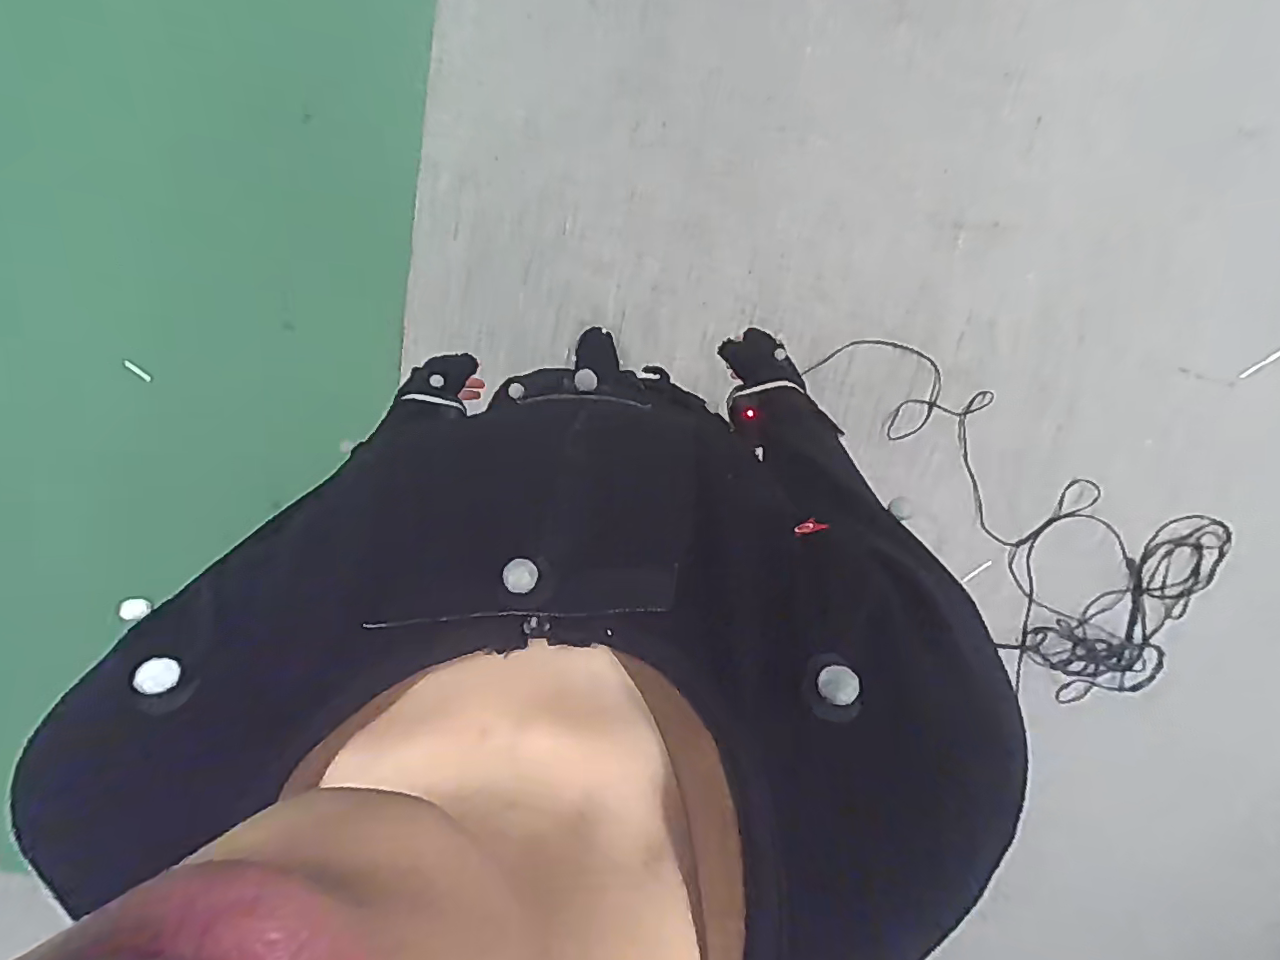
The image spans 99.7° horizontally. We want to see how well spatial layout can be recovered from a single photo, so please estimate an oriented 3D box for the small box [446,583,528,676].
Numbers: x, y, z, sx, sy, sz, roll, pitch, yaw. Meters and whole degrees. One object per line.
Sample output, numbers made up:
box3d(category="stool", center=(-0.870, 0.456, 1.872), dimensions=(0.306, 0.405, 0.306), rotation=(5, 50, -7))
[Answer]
box3d(category="small box", center=(-0.412, 0.403, 1.485), dimensions=(0.168, 0.176, 0.179), rotation=(12, 102, -1))
